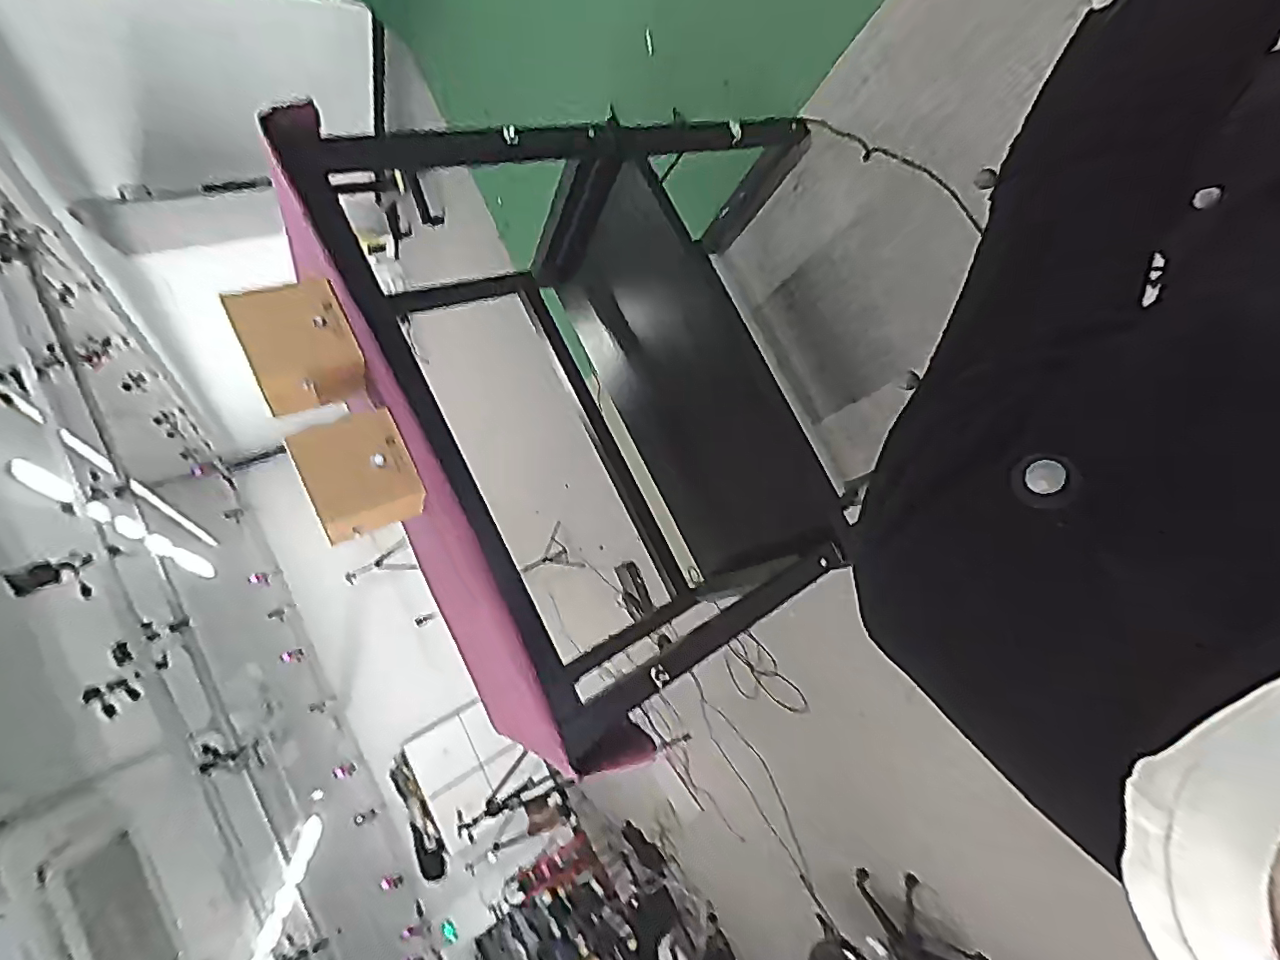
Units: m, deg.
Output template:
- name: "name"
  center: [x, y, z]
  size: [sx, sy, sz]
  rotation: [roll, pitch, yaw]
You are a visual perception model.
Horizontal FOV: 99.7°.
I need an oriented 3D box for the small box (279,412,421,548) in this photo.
- name: "small box"
  center: [-0.504, 0.002, 0.960]
  size: [0.168, 0.176, 0.179]
  rotation: [63, 150, 5]
